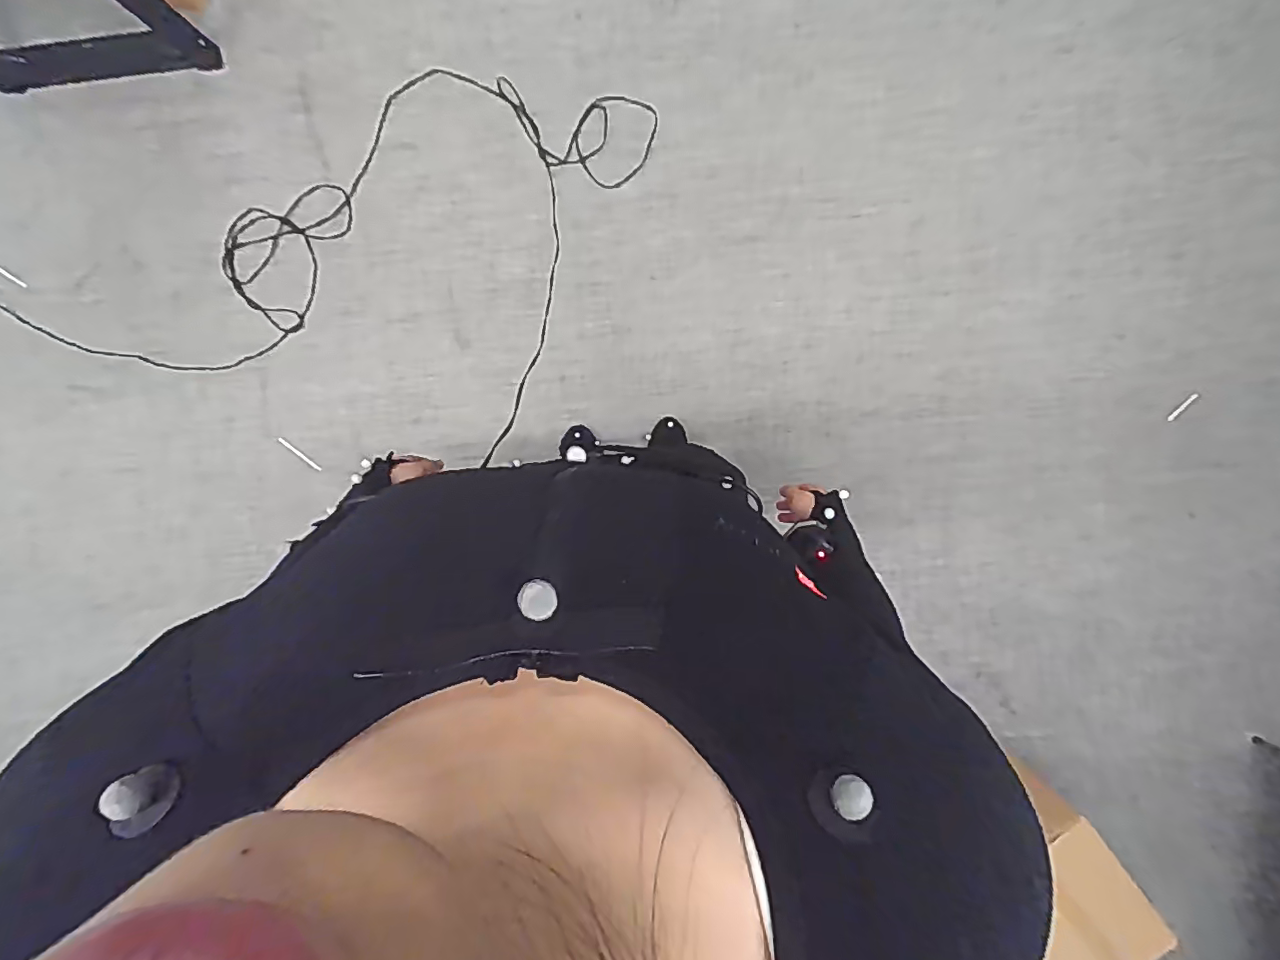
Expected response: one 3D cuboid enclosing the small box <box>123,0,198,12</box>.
[{"bbox_3d":[-1.190,-1.256,1.278,0.179,0.176,0.168,-1,96,1],"label":"small box"}]
